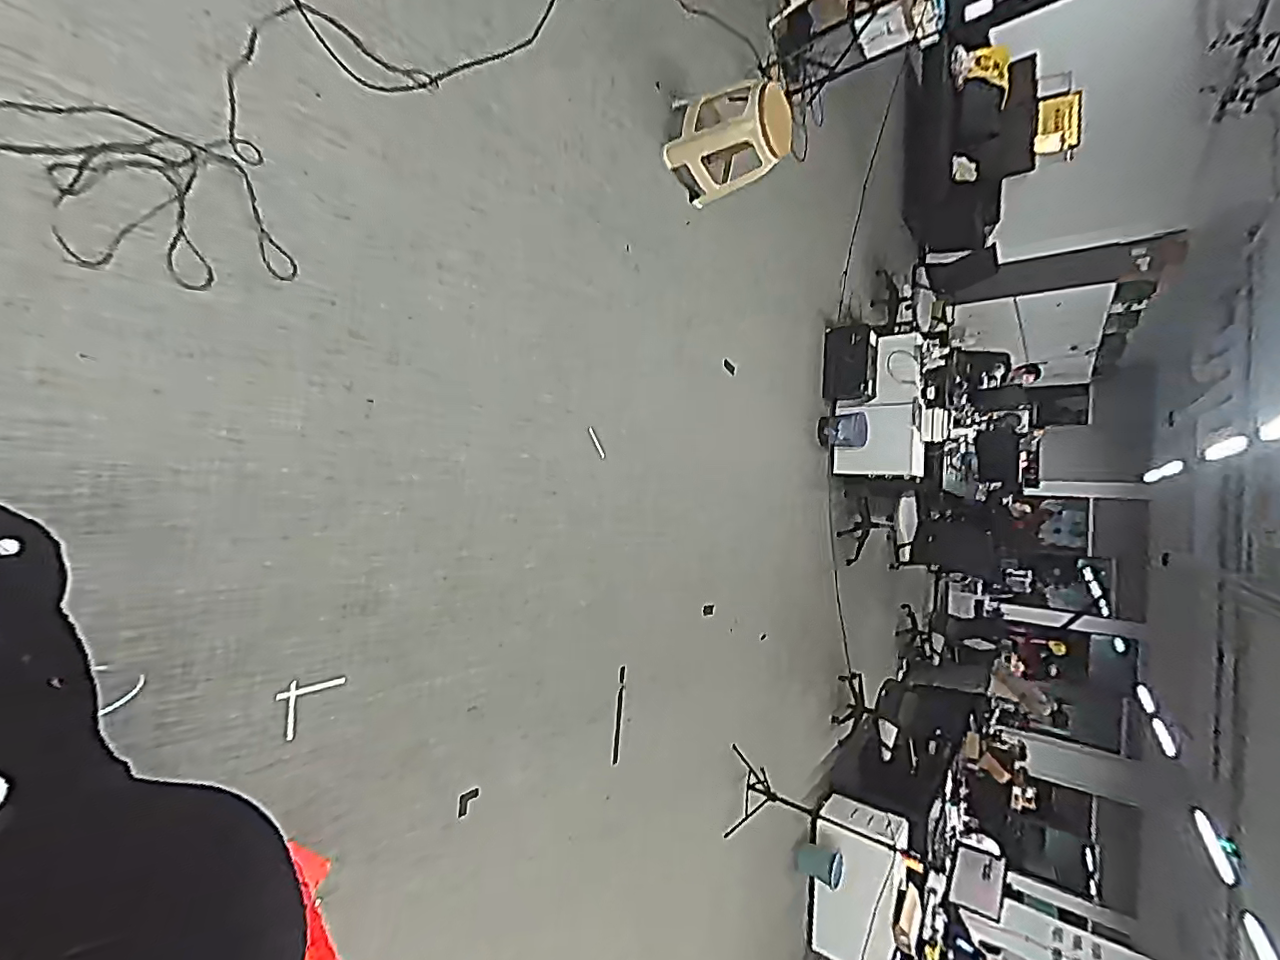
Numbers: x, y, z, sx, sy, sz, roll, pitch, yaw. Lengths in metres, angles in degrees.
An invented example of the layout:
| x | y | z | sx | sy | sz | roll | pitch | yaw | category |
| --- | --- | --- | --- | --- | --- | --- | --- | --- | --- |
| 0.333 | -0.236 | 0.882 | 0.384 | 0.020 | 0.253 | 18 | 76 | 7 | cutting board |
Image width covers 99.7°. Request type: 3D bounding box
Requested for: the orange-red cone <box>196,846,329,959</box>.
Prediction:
| x | y | z | sx | sy | sz | roll | pitch | yaw | category |
| --- | --- | --- | --- | --- | --- | --- | --- | --- | --- |
| -0.715 | 0.967 | 1.117 | 0.199 | 0.360 | 0.198 | -53 | 130 | -35 | orange-red cone |
